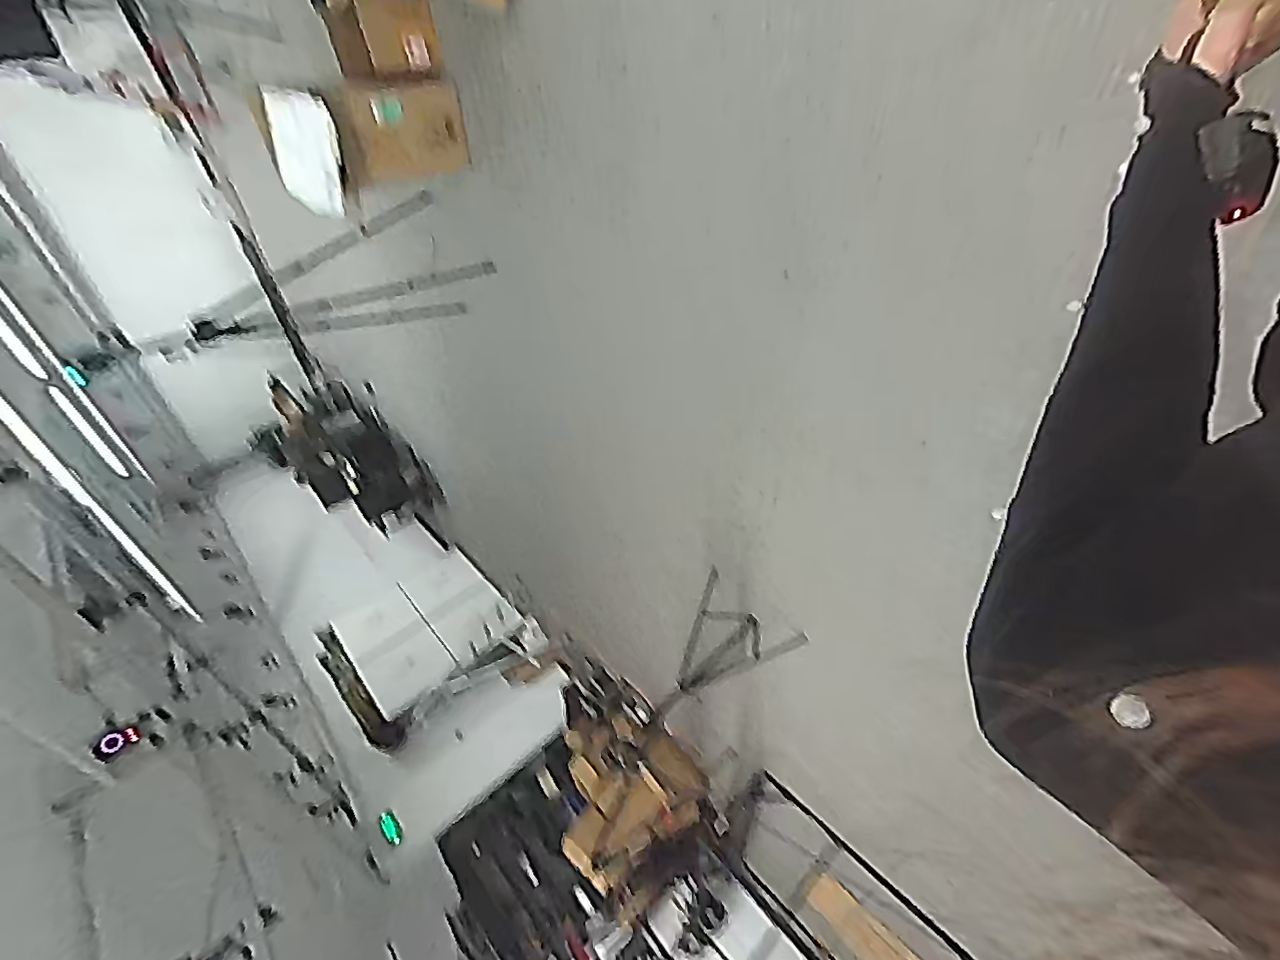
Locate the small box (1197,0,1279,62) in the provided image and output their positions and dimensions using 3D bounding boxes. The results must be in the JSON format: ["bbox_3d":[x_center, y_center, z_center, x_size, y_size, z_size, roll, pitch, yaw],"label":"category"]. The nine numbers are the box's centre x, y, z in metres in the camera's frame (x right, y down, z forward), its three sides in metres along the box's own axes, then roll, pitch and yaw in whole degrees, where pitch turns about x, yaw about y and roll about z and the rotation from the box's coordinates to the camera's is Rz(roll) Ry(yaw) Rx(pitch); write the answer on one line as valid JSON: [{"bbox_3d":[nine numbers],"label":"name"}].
[{"bbox_3d":[0.570,-0.477,0.422,0.179,0.176,0.168,-15,104,61],"label":"small box"}]
